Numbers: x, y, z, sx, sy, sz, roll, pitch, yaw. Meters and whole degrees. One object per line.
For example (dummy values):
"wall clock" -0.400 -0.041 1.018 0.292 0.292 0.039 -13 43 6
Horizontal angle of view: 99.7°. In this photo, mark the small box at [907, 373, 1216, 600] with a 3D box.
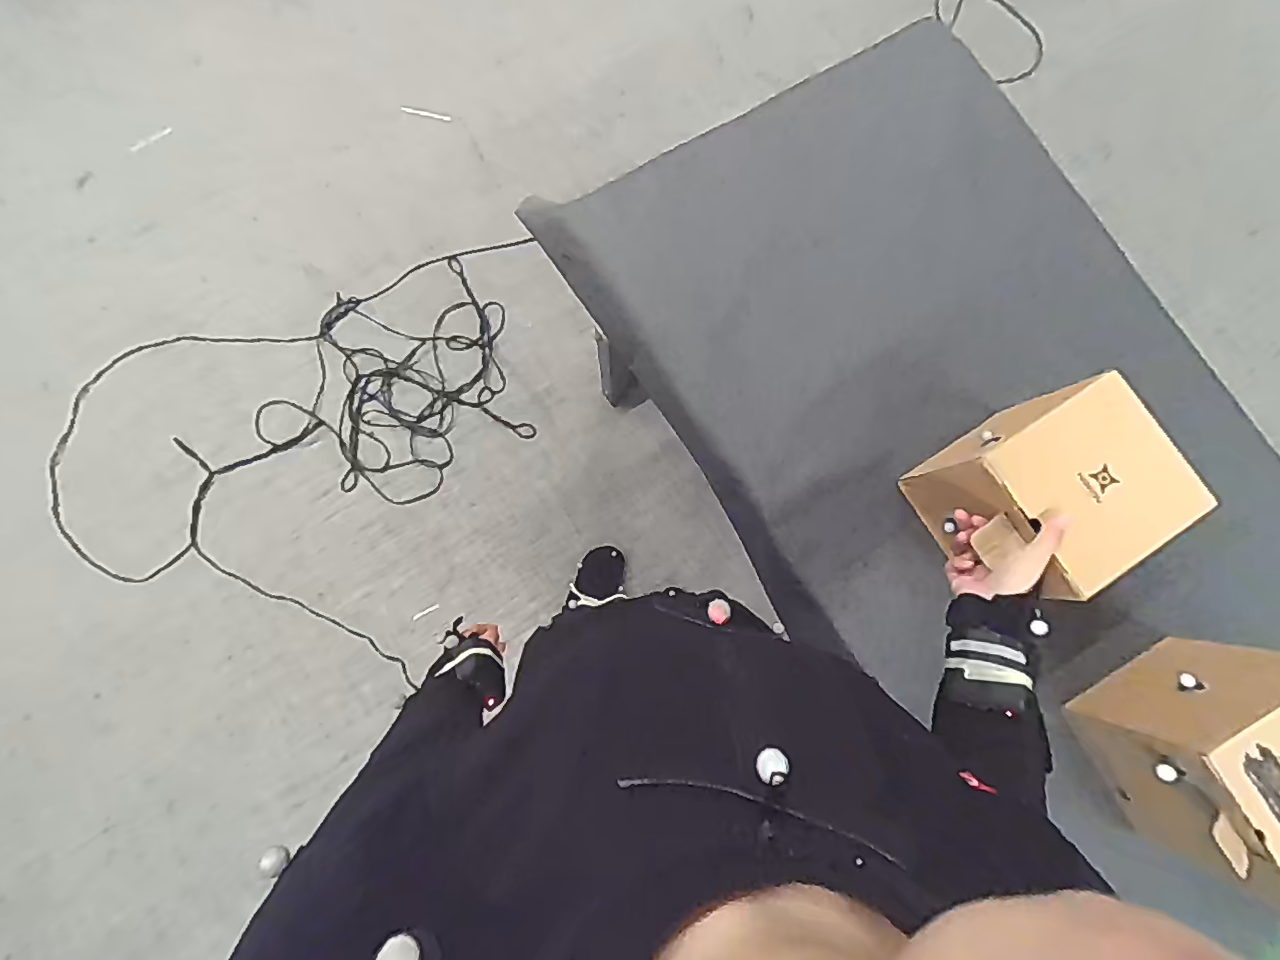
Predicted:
"small box" 0.447 0.013 0.605 0.179 0.176 0.168 -32 84 -6
